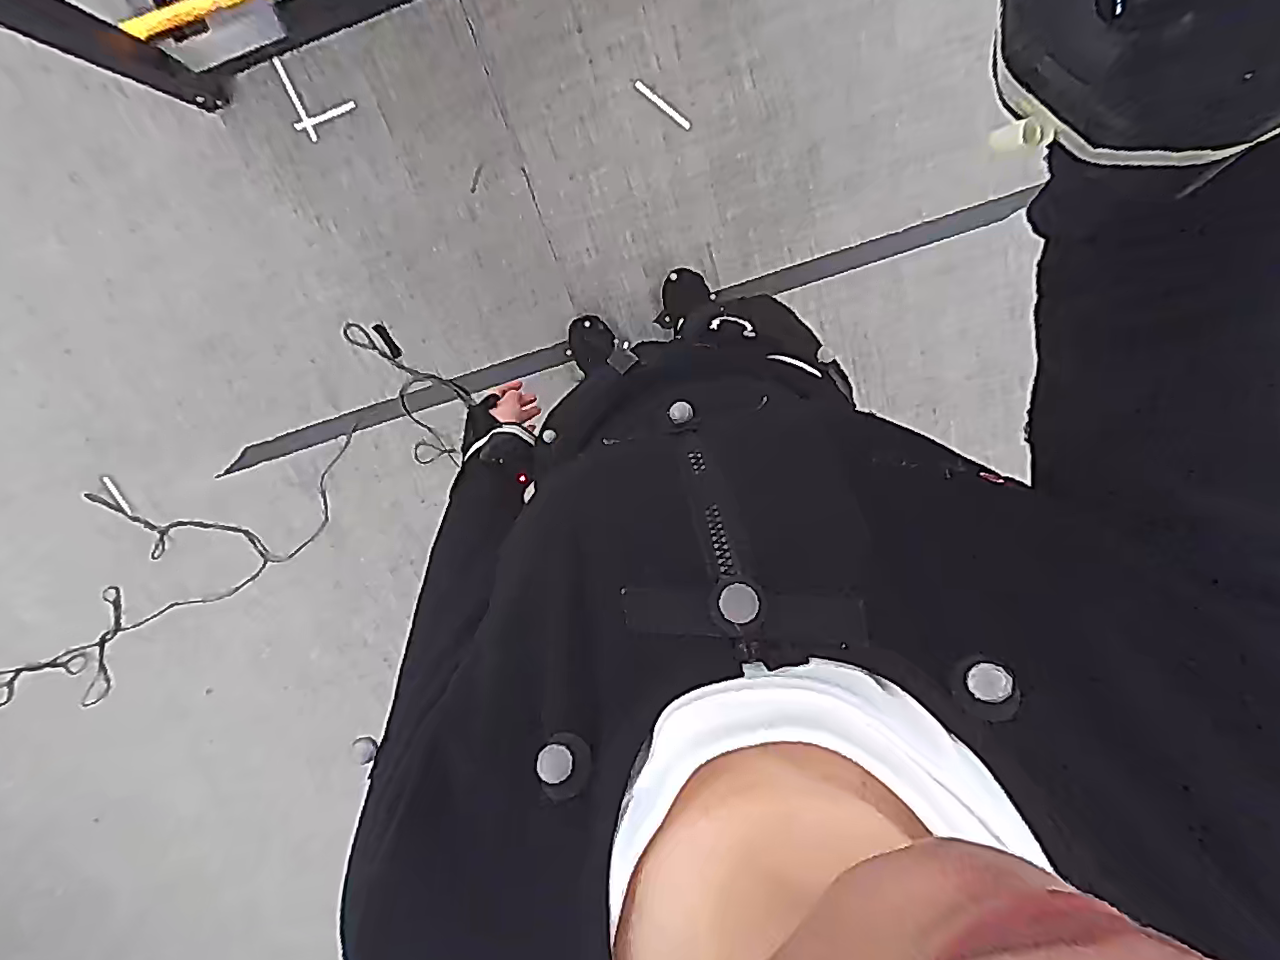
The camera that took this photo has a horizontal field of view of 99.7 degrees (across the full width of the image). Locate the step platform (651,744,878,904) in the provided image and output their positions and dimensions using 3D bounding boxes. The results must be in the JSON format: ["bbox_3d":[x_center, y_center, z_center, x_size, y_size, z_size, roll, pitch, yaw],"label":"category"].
[{"bbox_3d":[0.385,1.086,1.708,0.684,0.204,0.286,-19,109,4],"label":"step platform"}]
